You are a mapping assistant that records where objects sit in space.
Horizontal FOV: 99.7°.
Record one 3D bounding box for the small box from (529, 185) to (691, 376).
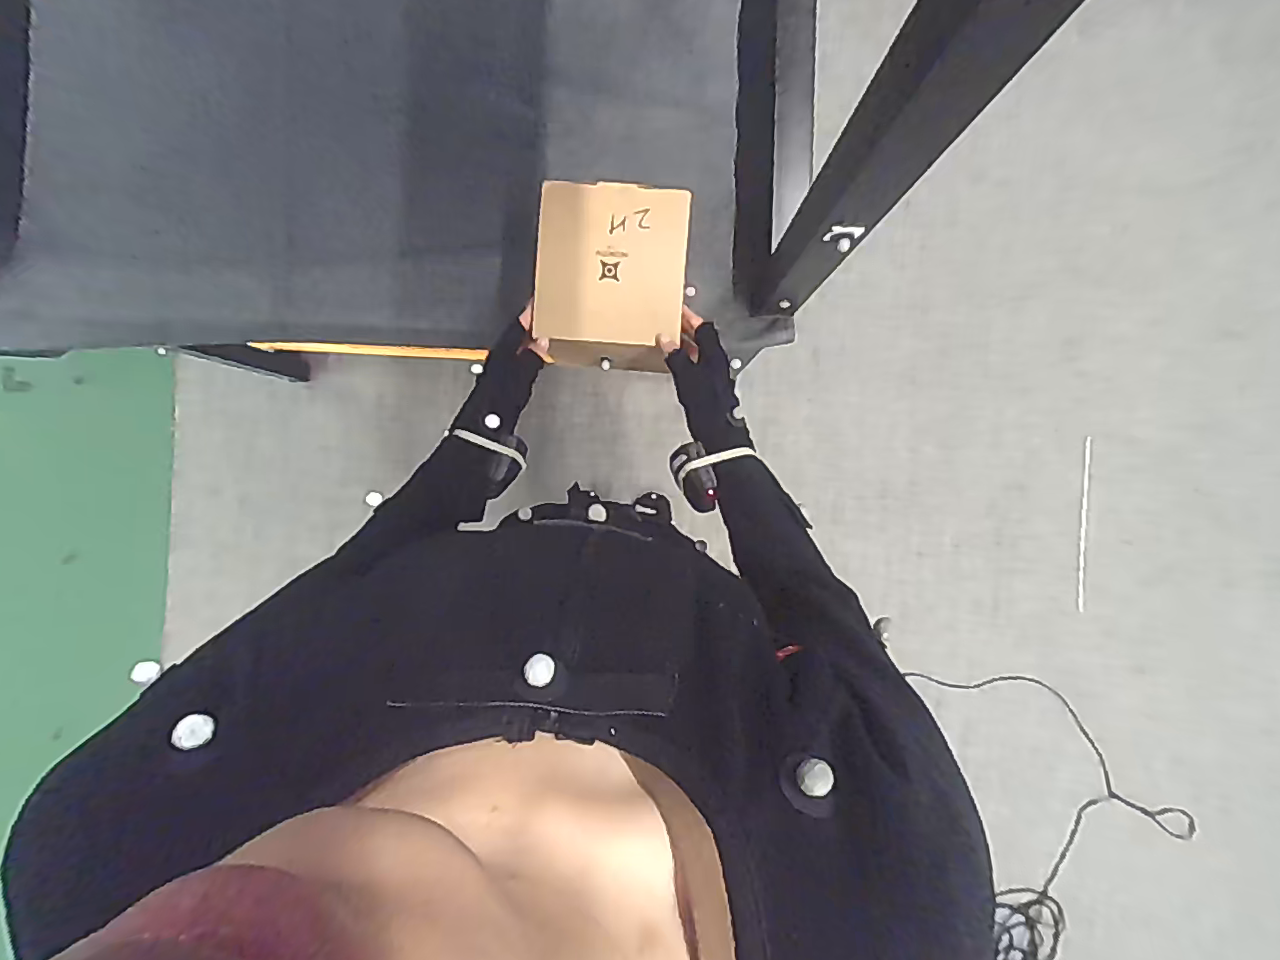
[{"bbox_3d":[-0.035,-0.234,0.680,0.168,0.176,0.179,6,92,-2],"label":"small box"}]
